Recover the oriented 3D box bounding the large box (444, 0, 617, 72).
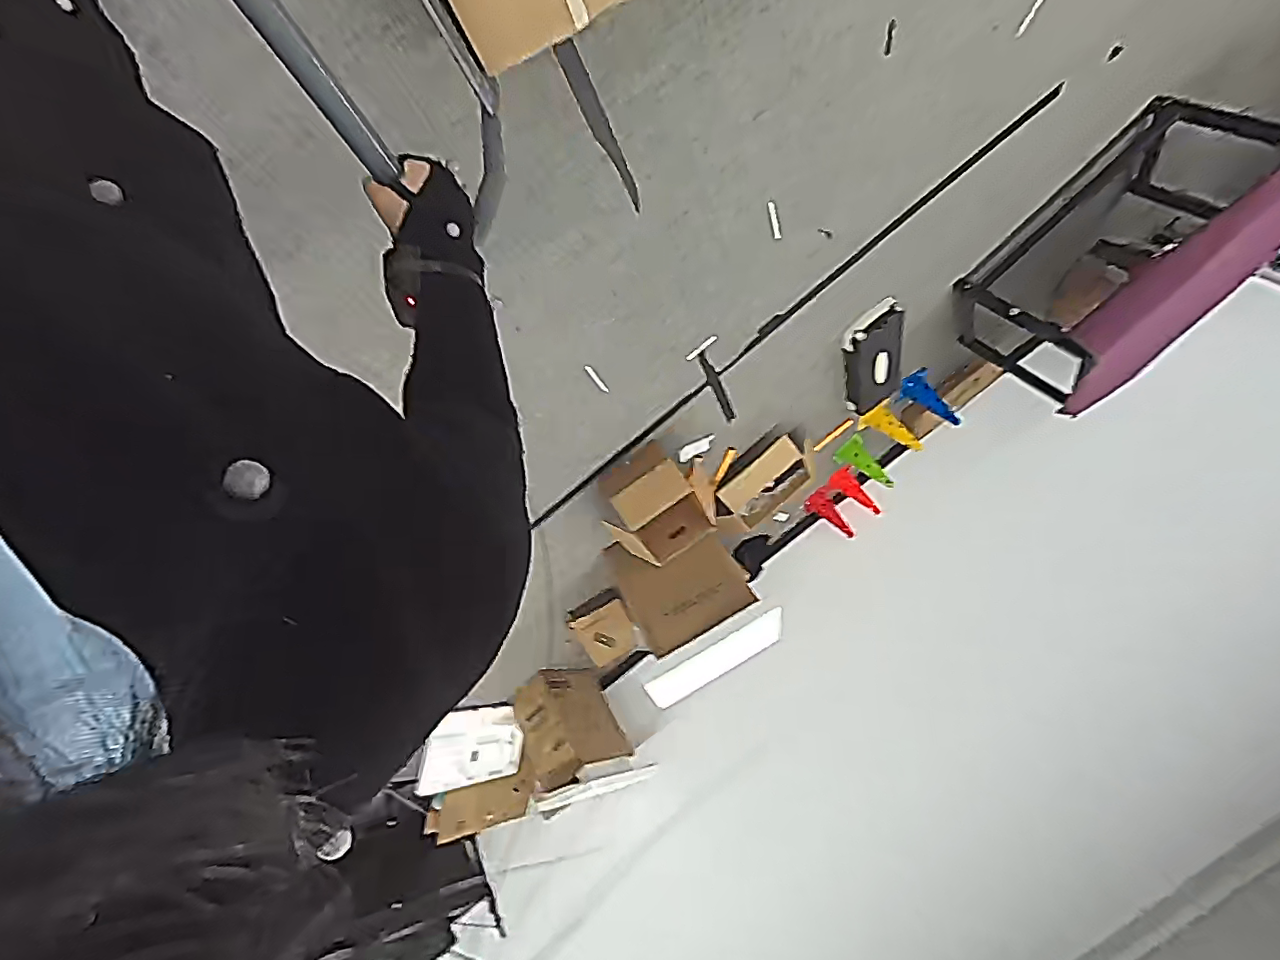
[{"bbox_3d":[-0.195,-0.874,0.700,0.320,0.320,0.408,-22,148,9],"label":"large box"}]
